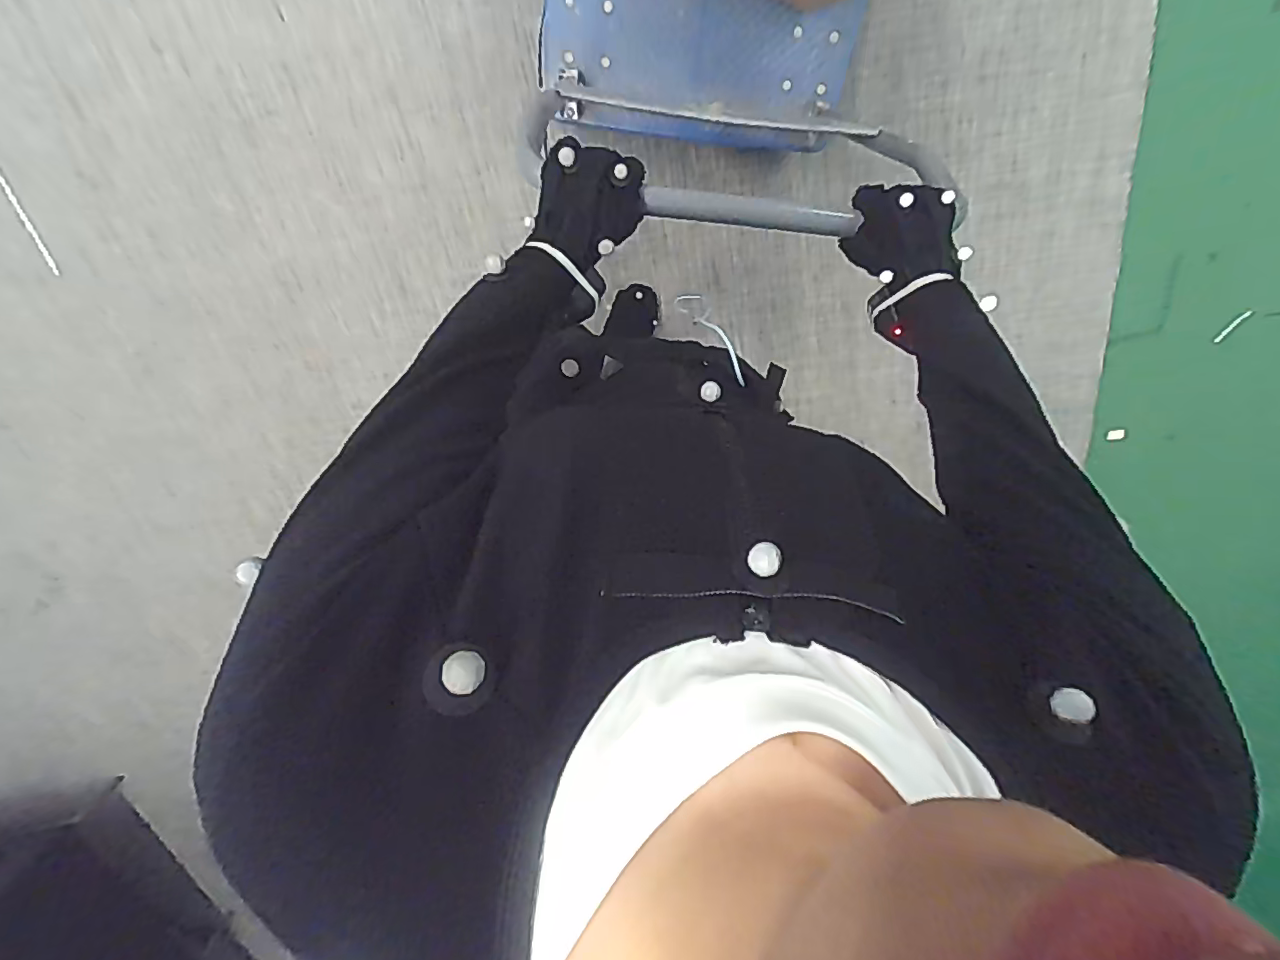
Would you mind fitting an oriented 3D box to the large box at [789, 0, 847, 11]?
[{"bbox_3d":[0.186,-0.926,0.739,0.408,0.320,0.320,18,124,-12],"label":"large box"}]
